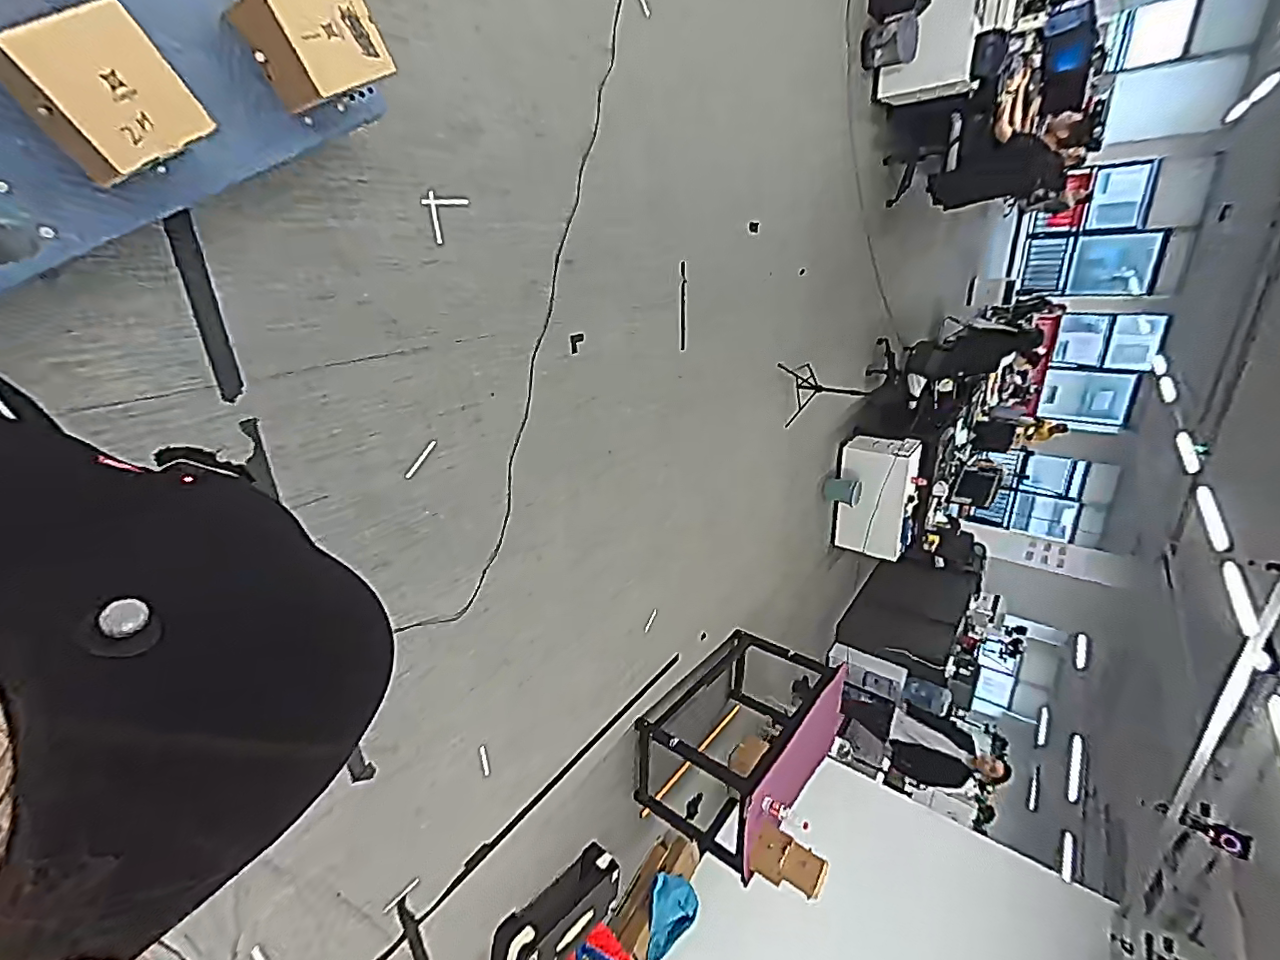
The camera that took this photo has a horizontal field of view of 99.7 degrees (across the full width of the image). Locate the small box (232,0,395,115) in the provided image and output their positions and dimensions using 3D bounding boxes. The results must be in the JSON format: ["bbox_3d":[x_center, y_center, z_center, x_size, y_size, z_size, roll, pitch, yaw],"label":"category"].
[{"bbox_3d":[-0.614,-0.819,1.020,0.179,0.176,0.168,-49,136,-30],"label":"small box"}]

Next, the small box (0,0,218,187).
[{"bbox_3d":[-0.817,-0.580,0.830,0.168,0.176,0.179,-54,139,-27],"label":"small box"}]
